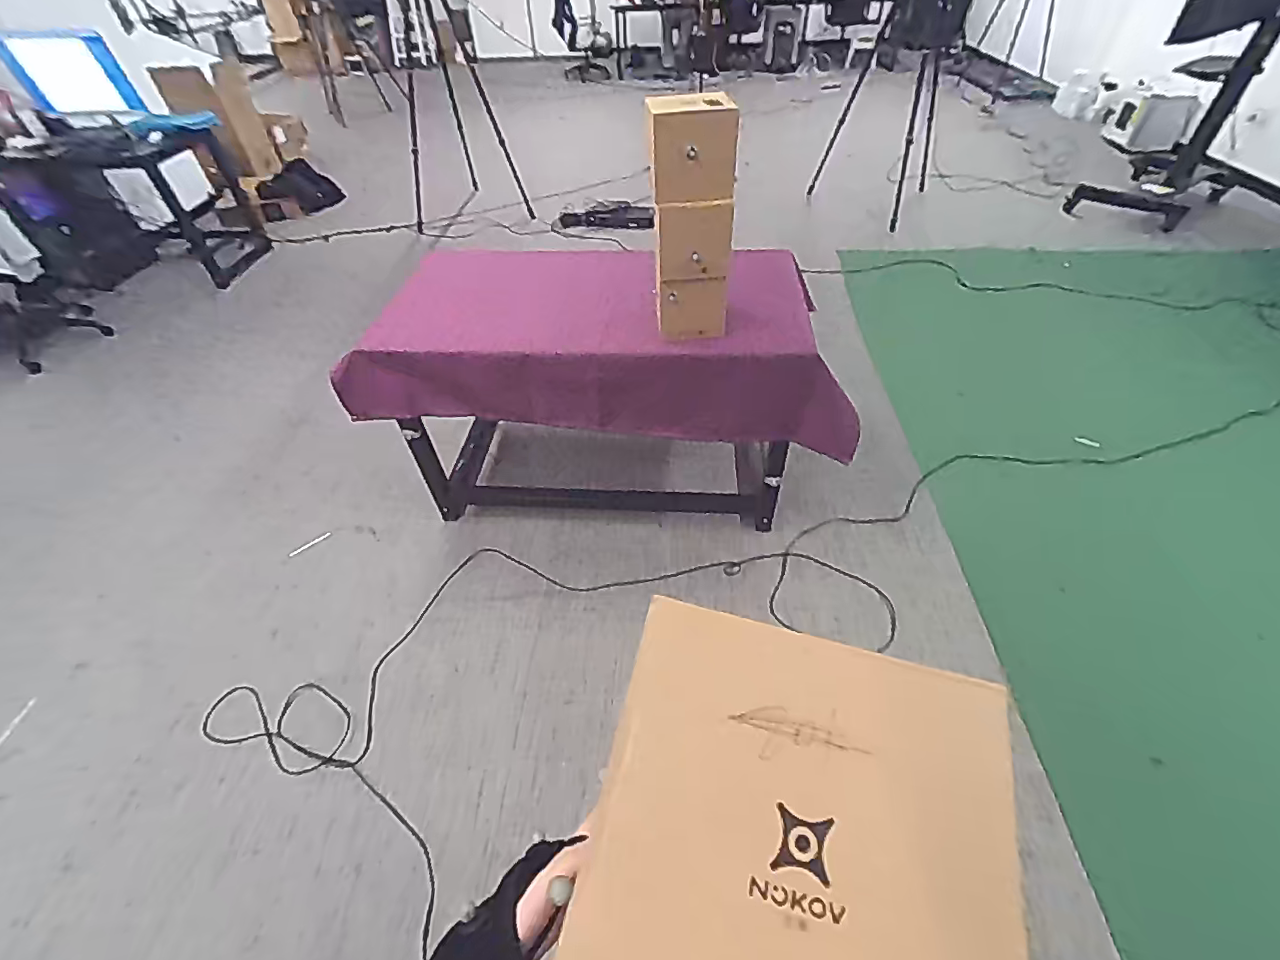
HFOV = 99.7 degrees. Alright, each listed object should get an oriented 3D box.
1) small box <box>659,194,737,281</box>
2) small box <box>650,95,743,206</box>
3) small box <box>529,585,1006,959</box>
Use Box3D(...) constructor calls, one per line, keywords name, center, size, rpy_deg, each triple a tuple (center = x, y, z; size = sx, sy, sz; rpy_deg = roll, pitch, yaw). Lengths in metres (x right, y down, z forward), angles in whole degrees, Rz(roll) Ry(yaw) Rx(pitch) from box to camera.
Box3D(name="small box", center=(0.129, -0.589, 1.278), size=(0.168, 0.176, 0.179), rpy_deg=(-3, 45, 1))
Box3D(name="small box", center=(0.114, -0.712, 1.170), size=(0.179, 0.176, 0.168), rpy_deg=(-5, 44, -1))
Box3D(name="small box", center=(0.055, 0.183, 0.280), size=(0.168, 0.176, 0.179), rpy_deg=(14, 58, 7))
